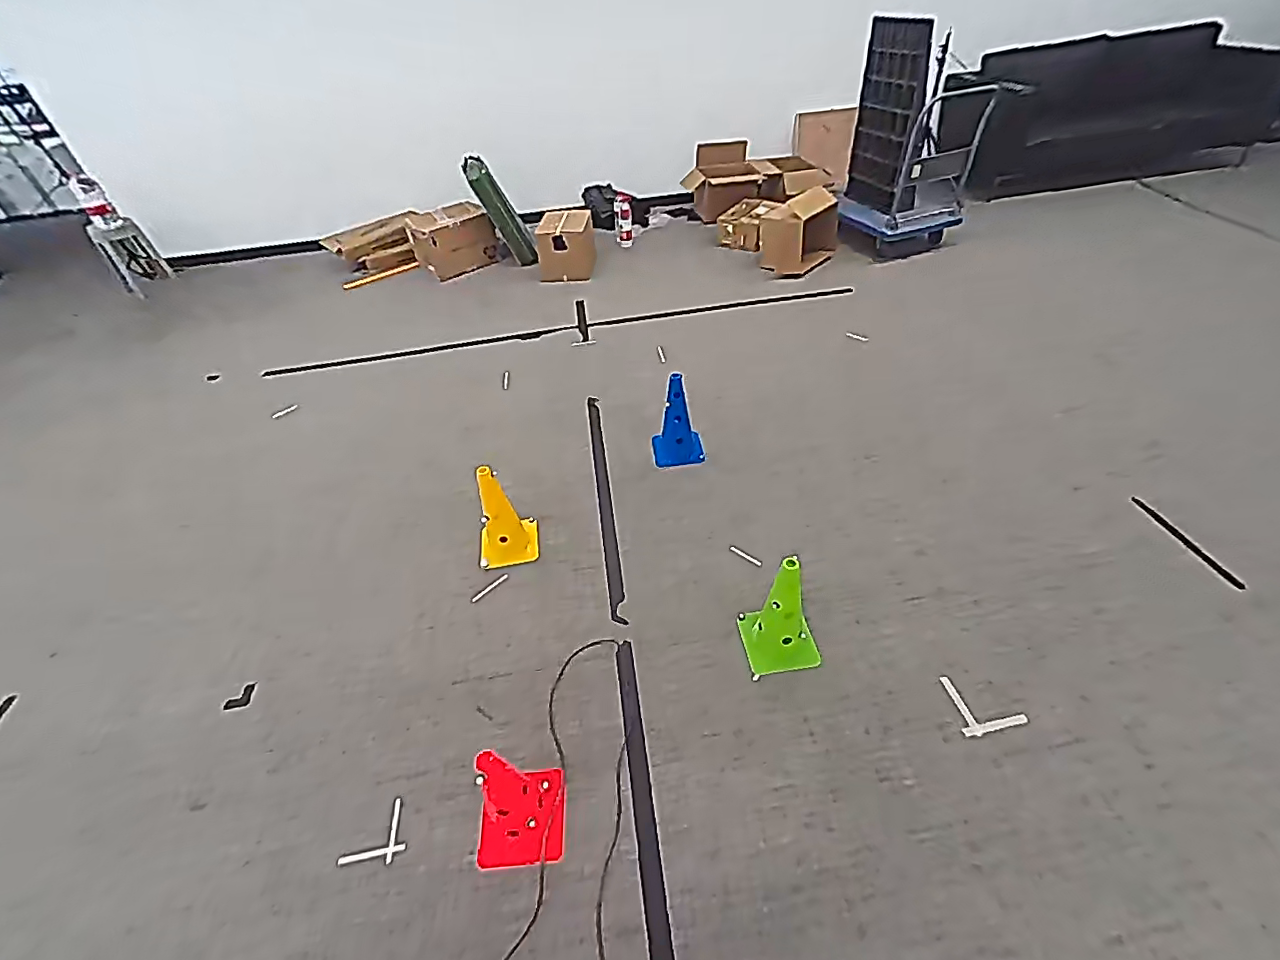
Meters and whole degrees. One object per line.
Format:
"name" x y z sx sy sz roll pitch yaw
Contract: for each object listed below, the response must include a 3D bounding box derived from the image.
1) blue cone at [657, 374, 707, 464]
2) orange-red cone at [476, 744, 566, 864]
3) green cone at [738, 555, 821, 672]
"blue cone" 0.161 -0.250 2.131 0.192 0.380 0.193 -5 43 -1
"orange-red cone" -0.294 0.670 1.179 0.199 0.360 0.198 -6 41 1
"green cone" 0.393 0.334 1.460 0.202 0.368 0.200 -7 43 -4
